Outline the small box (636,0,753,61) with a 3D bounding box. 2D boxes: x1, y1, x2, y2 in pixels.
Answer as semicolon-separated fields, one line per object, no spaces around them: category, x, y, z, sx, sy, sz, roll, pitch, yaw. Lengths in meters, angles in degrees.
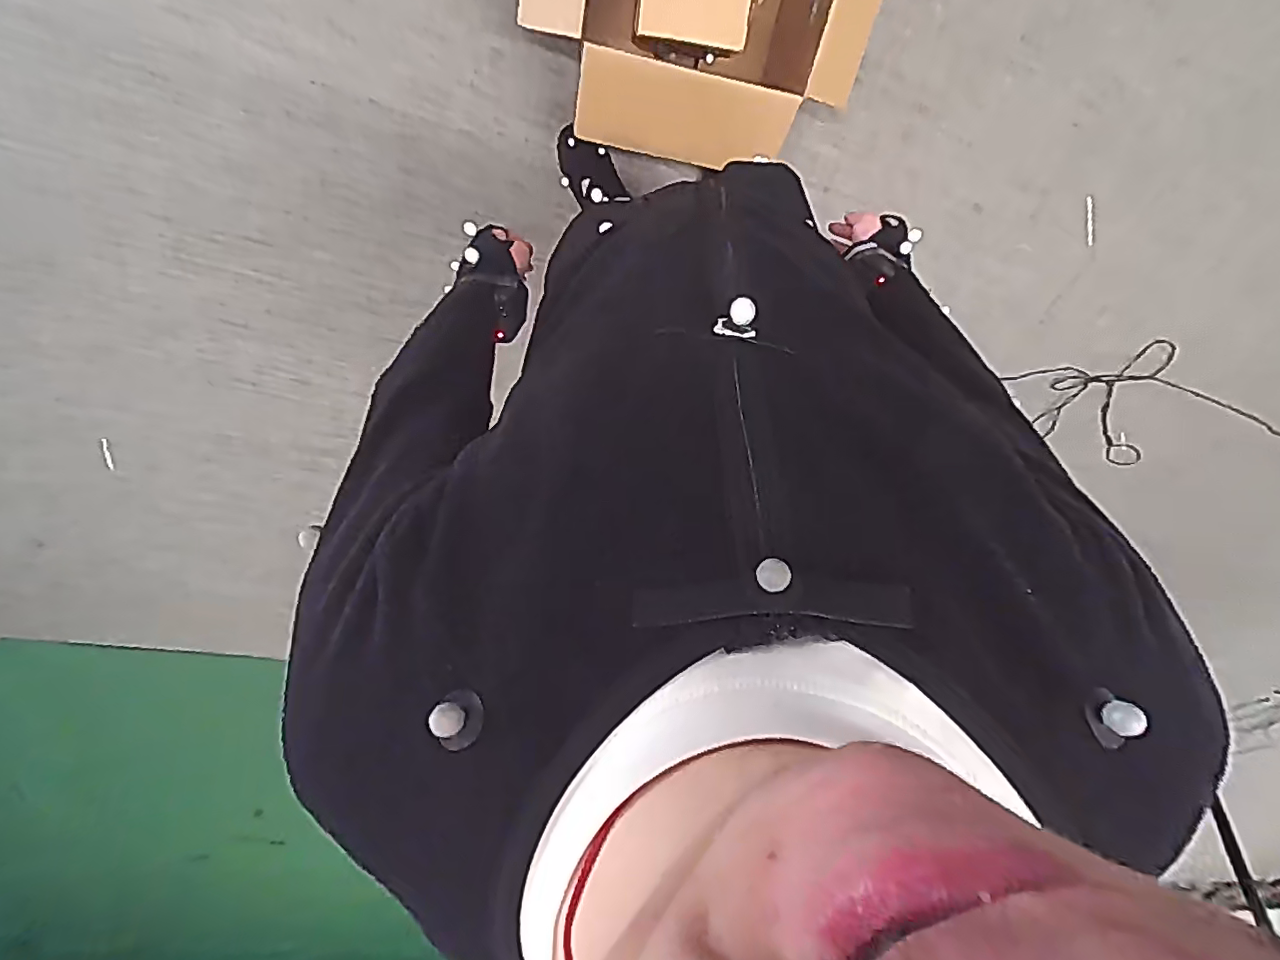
small box;0.090;-0.811;0.891;0.179;0.176;0.168;6;123;-5
